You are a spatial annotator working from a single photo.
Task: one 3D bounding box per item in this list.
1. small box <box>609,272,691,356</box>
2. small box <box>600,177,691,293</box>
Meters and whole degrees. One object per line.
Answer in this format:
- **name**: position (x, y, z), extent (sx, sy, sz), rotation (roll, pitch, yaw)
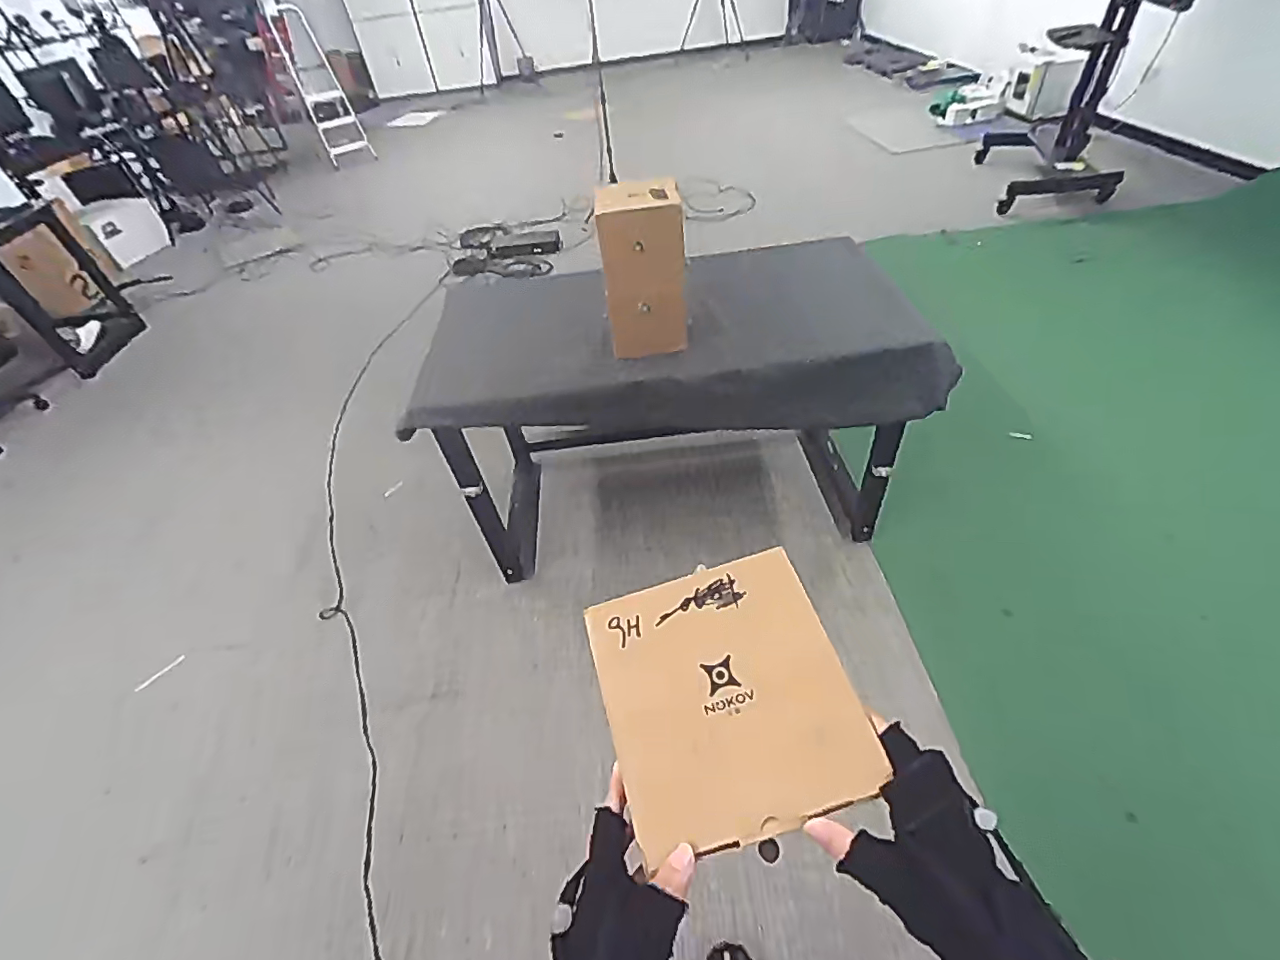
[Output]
- **small box**: position (0.025, -0.408, 1.280), extent (0.179, 0.176, 0.168), rotation (-6, 46, 1)
- **small box**: position (0.014, -0.524, 1.163), extent (0.179, 0.176, 0.168), rotation (-8, 46, 1)
